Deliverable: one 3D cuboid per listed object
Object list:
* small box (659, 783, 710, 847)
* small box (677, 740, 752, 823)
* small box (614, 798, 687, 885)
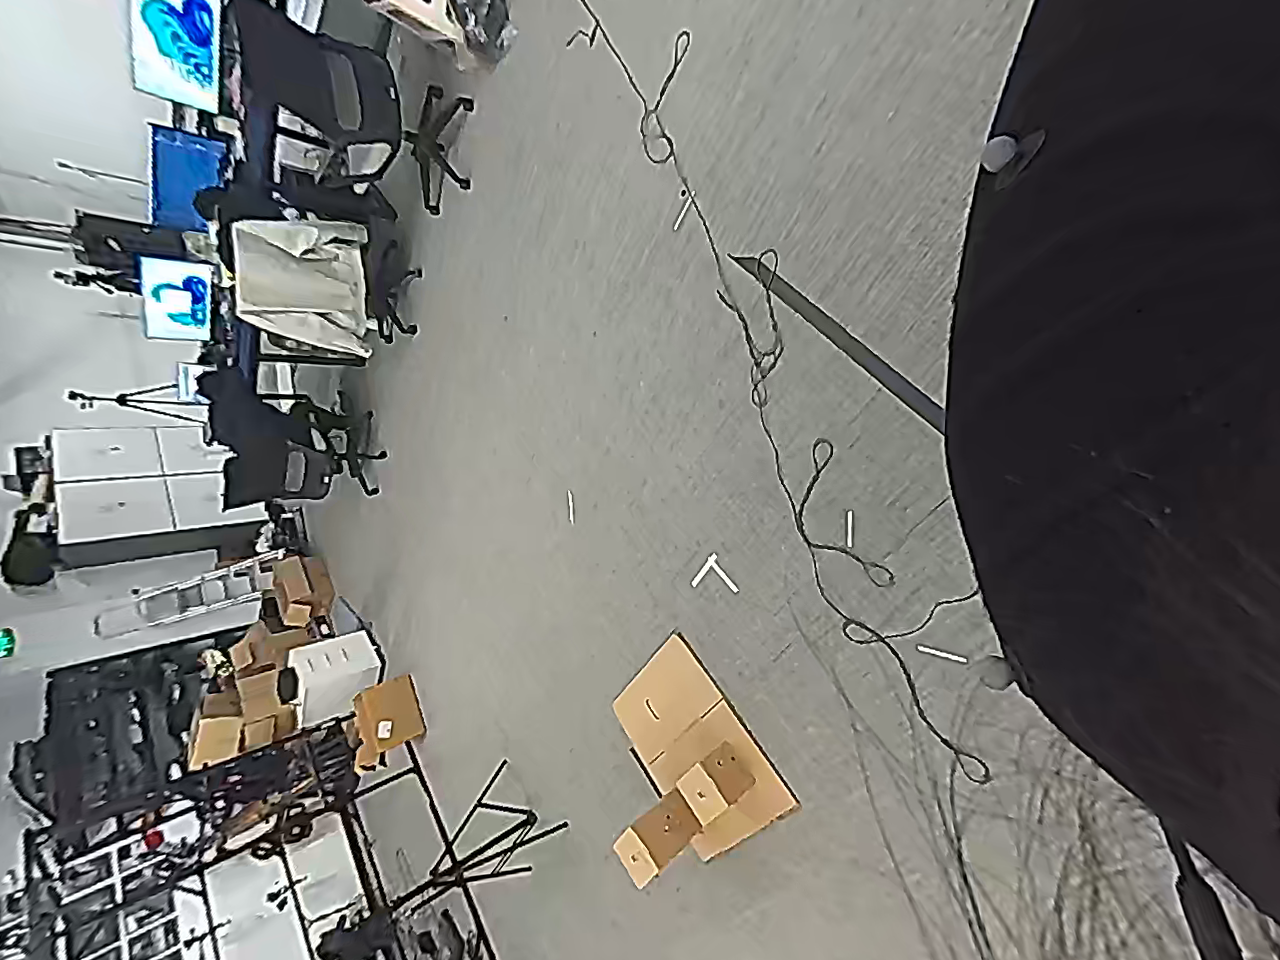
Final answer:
[{"bbox_3d":[0.153,1.274,2.063,0.168,0.176,0.179,45,124,31],"label":"small box"},{"bbox_3d":[0.269,1.061,1.917,0.168,0.176,0.179,50,128,29],"label":"small box"},{"bbox_3d":[0.040,1.296,1.945,0.168,0.176,0.179,46,125,29],"label":"small box"}]
